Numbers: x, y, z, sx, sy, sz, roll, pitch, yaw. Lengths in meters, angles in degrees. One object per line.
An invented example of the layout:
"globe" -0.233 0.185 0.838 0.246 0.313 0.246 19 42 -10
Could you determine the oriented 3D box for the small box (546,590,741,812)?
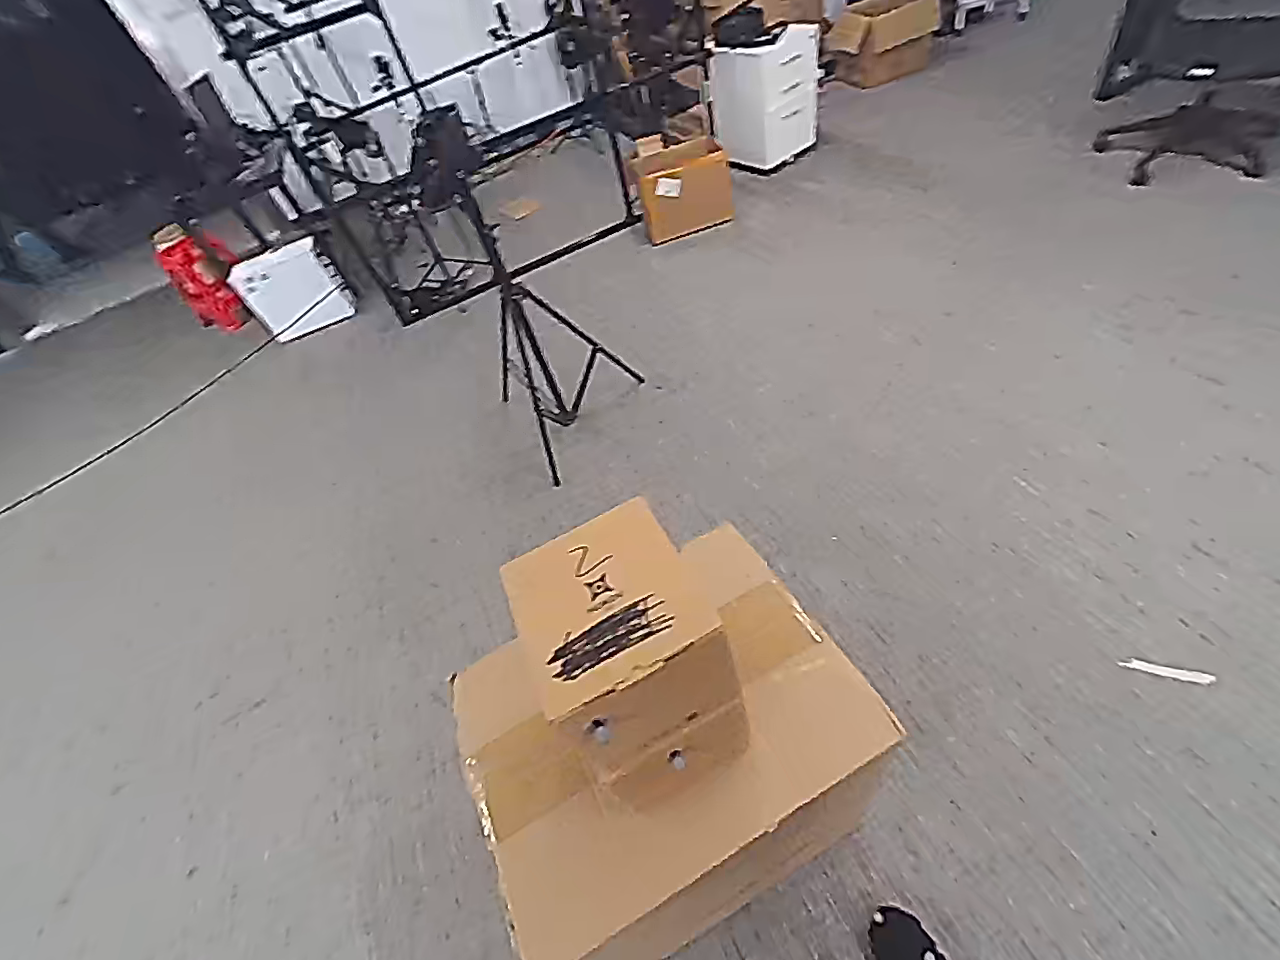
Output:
"small box" 0.011 0.276 0.672 0.179 0.176 0.168 -29 49 -8
